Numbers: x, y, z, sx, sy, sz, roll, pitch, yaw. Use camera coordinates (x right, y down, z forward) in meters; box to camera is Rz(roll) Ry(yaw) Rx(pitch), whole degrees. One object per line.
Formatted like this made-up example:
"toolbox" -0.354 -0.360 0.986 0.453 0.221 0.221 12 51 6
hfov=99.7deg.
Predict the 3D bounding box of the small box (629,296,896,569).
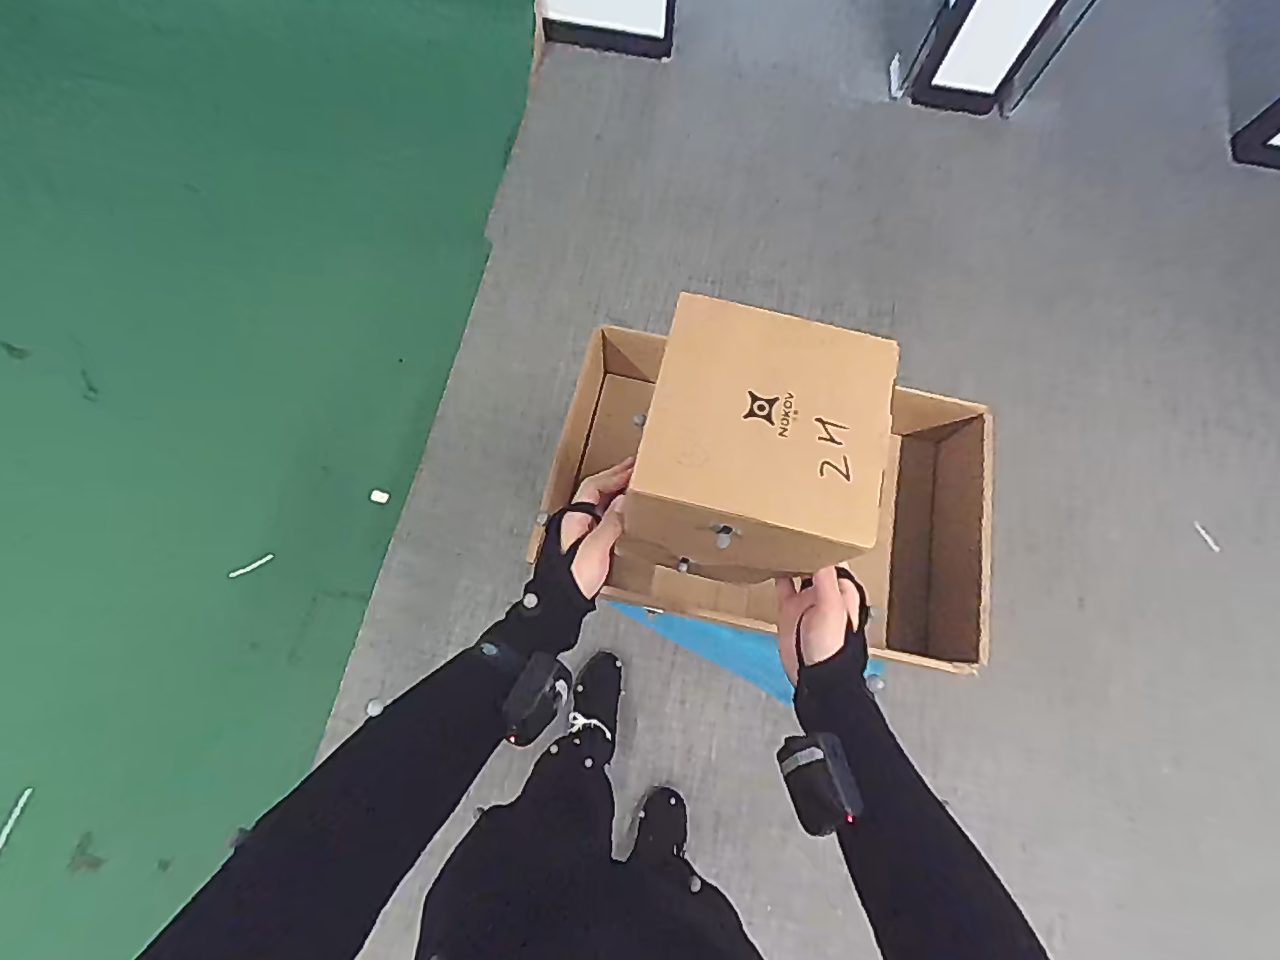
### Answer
"small box" 0.092 -0.026 0.474 0.179 0.176 0.168 15 73 1

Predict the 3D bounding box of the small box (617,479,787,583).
"small box" 0.078 0.017 0.632 0.179 0.176 0.168 15 72 2
